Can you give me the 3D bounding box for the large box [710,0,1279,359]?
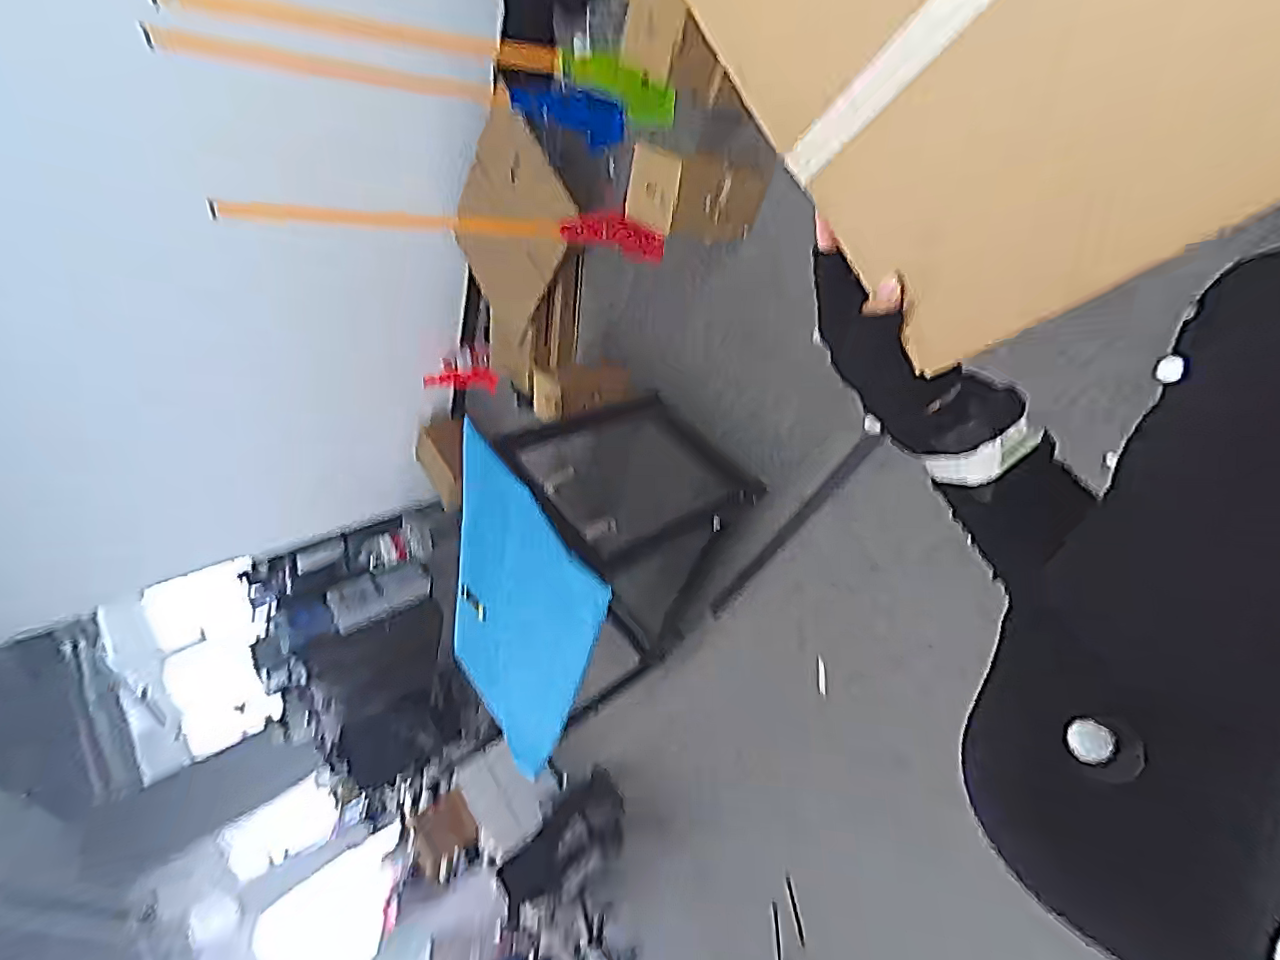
[{"bbox_3d":[0.316,-0.331,0.291,0.320,0.320,0.408,57,142,-2],"label":"large box"}]
